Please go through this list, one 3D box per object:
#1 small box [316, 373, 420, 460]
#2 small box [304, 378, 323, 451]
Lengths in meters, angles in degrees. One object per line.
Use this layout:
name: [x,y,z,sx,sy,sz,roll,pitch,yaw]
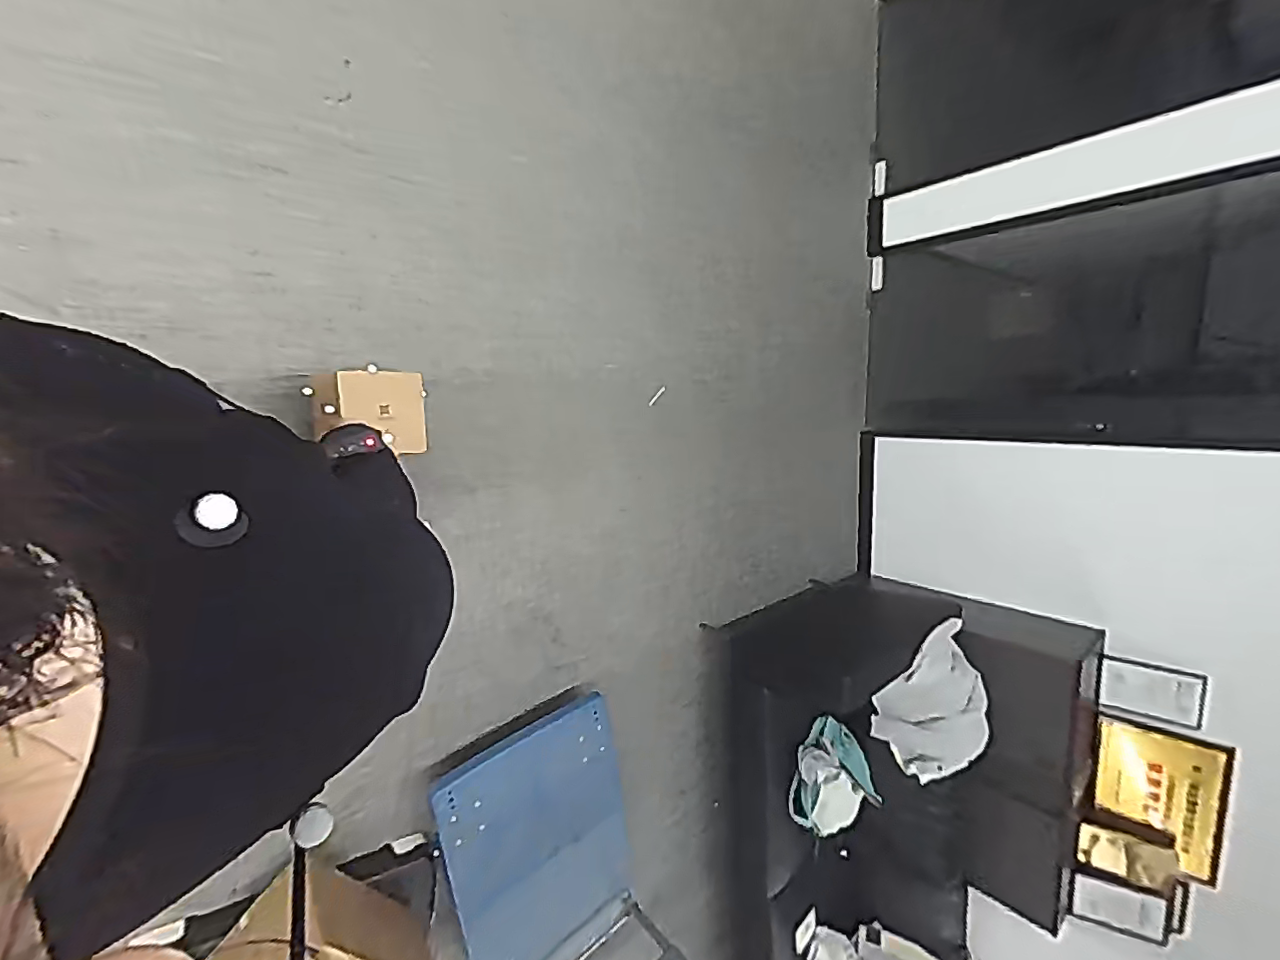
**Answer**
small box: [-0.598,-0.139,1.183,0.168,0.176,0.179,-7,101,-39]
small box: [-0.700,-0.159,1.311,0.179,0.176,0.168,-8,101,-40]
